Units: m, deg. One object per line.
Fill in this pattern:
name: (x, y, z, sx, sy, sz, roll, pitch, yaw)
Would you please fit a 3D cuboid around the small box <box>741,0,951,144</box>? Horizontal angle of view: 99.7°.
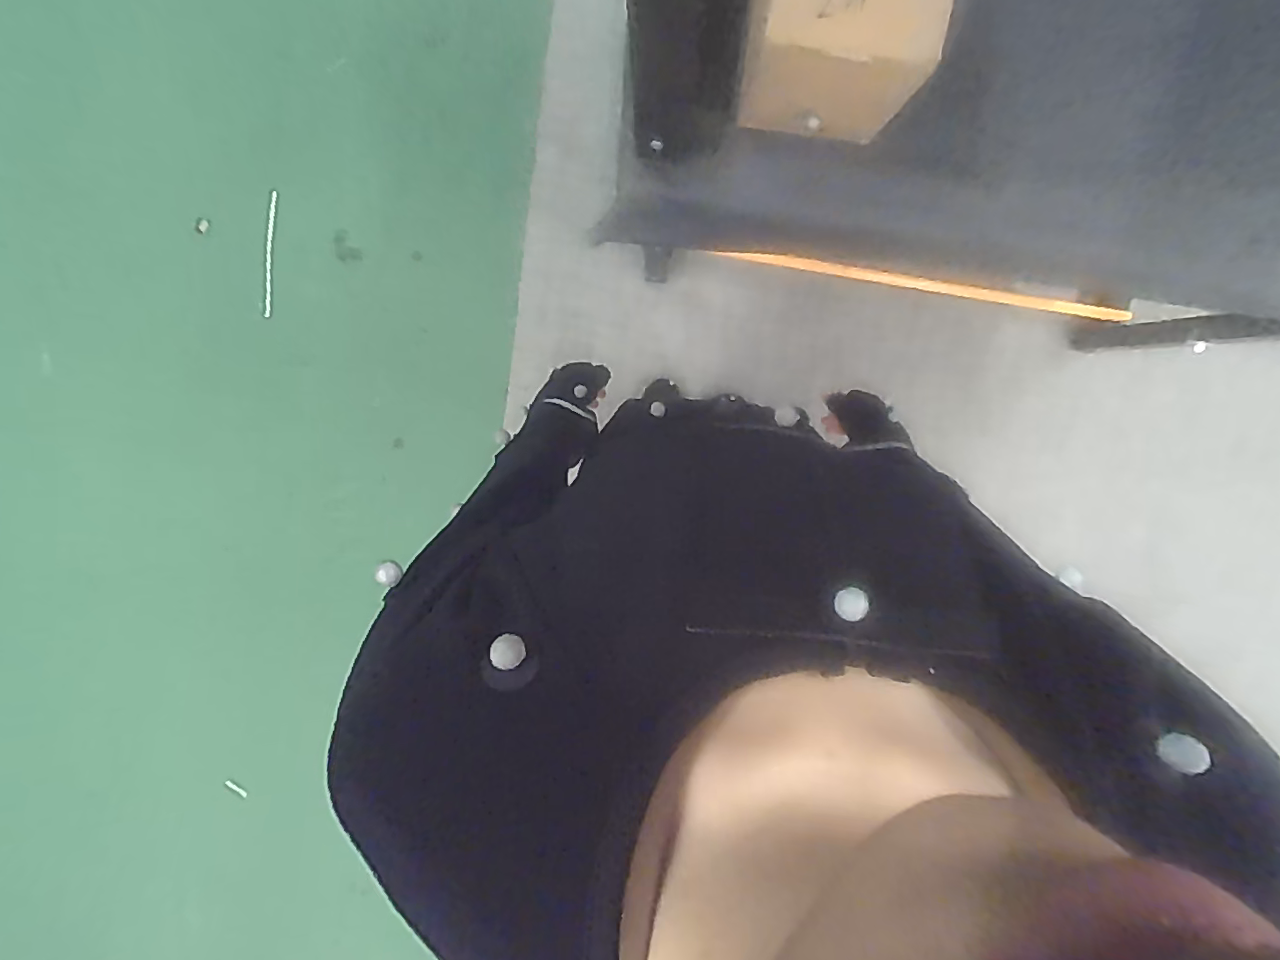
small box: (0.209, -0.492, 0.567, 0.168, 0.176, 0.179, 7, 100, 0)
